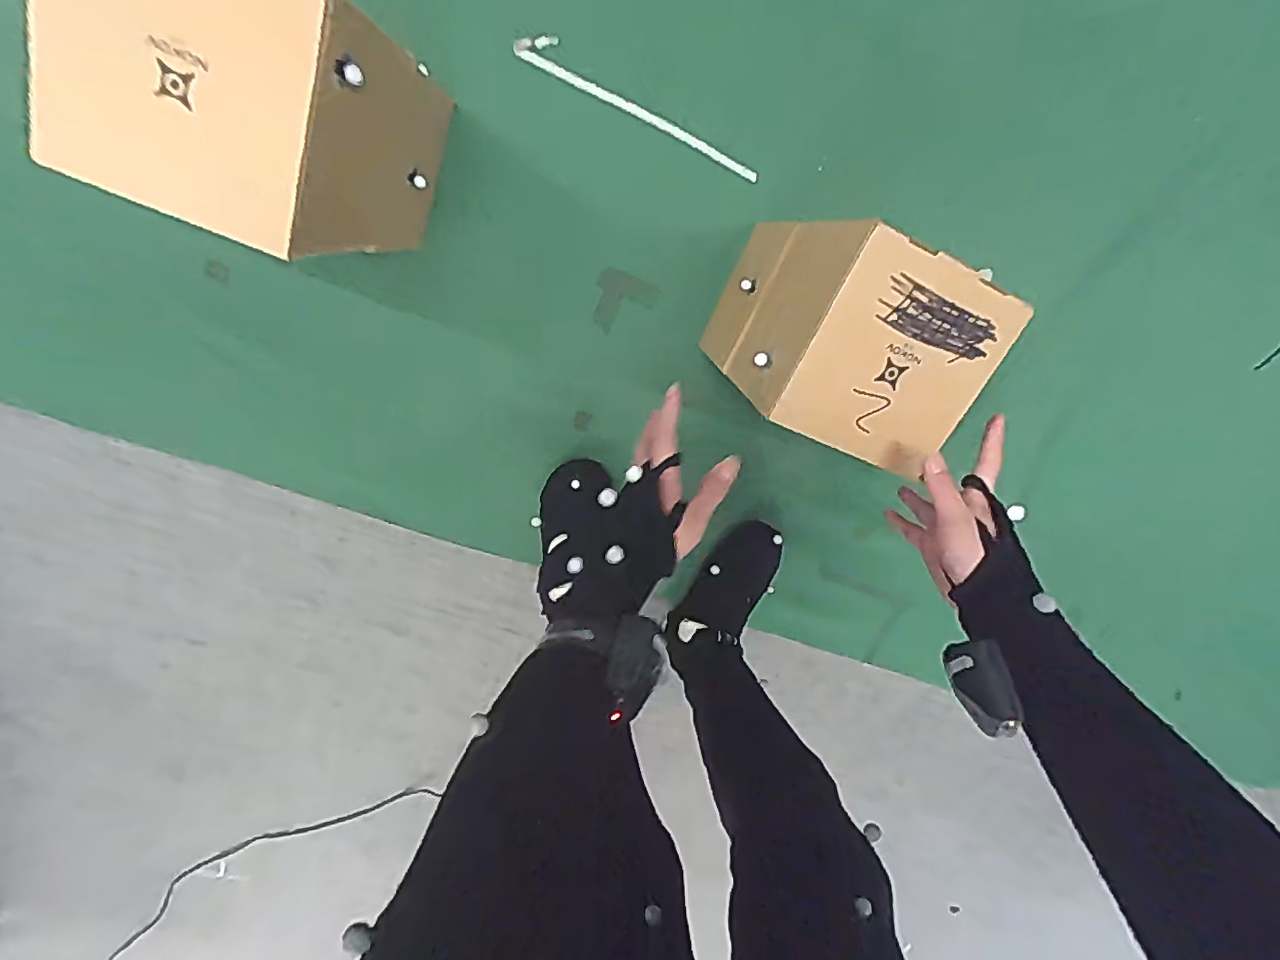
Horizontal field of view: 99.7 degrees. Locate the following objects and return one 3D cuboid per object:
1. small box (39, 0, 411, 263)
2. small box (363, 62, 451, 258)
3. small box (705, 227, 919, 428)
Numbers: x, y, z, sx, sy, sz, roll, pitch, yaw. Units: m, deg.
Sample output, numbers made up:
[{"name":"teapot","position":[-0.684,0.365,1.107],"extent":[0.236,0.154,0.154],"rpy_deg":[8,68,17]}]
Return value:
[{"name":"small box","position":[-0.303,-0.291,0.428],"extent":[0.168,0.176,0.179],"rpy_deg":[20,110,-11]},{"name":"small box","position":[-0.316,-0.357,0.575],"extent":[0.168,0.176,0.179],"rpy_deg":[20,112,-12]},{"name":"small box","position":[0.198,-0.197,0.683],"extent":[0.168,0.176,0.179],"rpy_deg":[22,111,-13]}]
